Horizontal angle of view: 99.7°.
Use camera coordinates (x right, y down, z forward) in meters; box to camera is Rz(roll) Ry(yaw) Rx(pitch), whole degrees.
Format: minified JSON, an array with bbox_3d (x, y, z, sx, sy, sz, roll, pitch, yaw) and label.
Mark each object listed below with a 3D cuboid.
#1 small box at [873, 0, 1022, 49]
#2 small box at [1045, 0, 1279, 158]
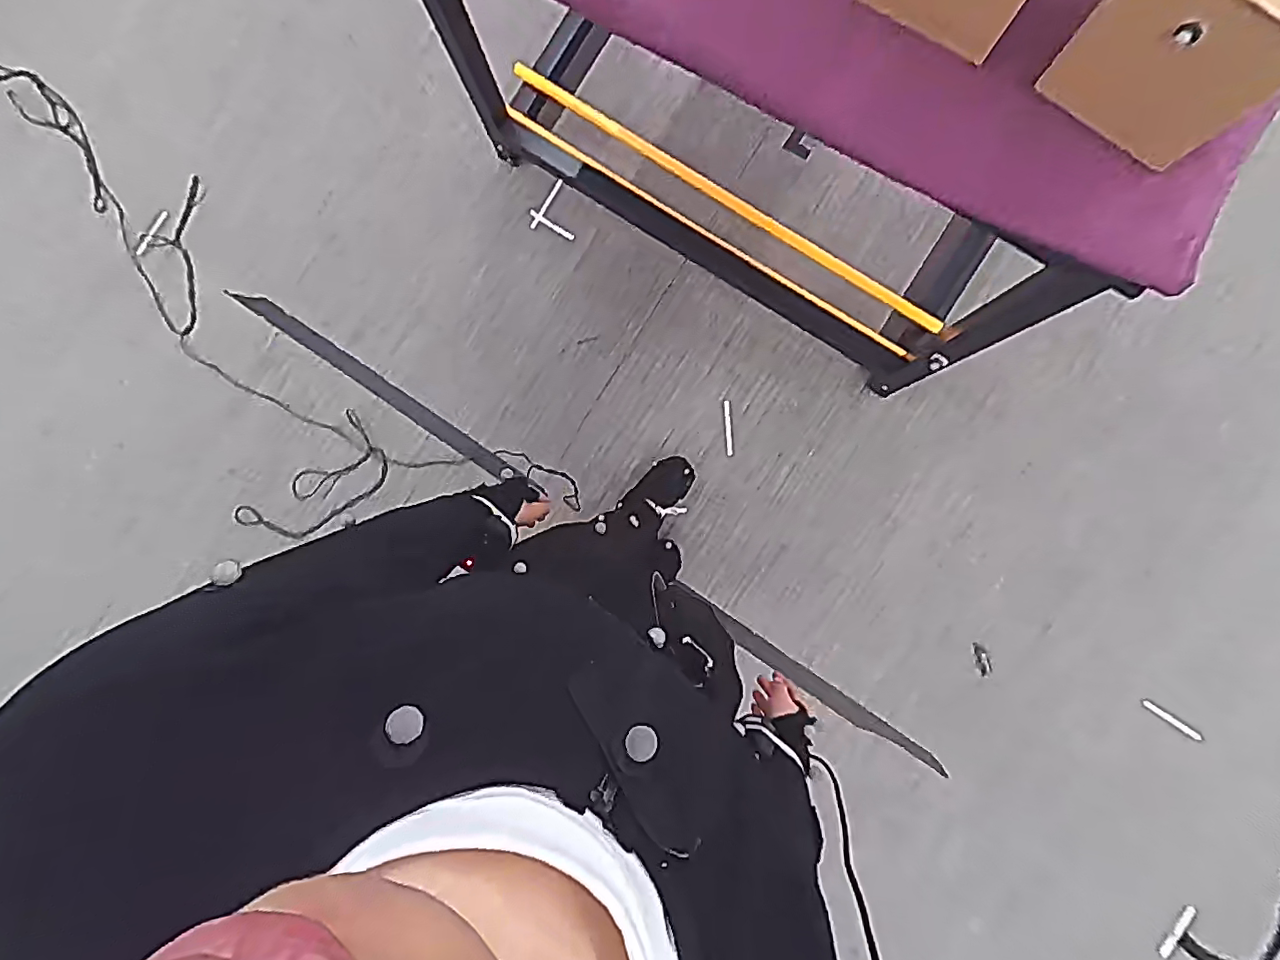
[{"bbox_3d":[0.367,-0.608,0.562,0.179,0.176,0.168,32,88,4],"label":"small box"},{"bbox_3d":[0.574,-0.477,0.547,0.179,0.176,0.168,38,89,3],"label":"small box"}]
